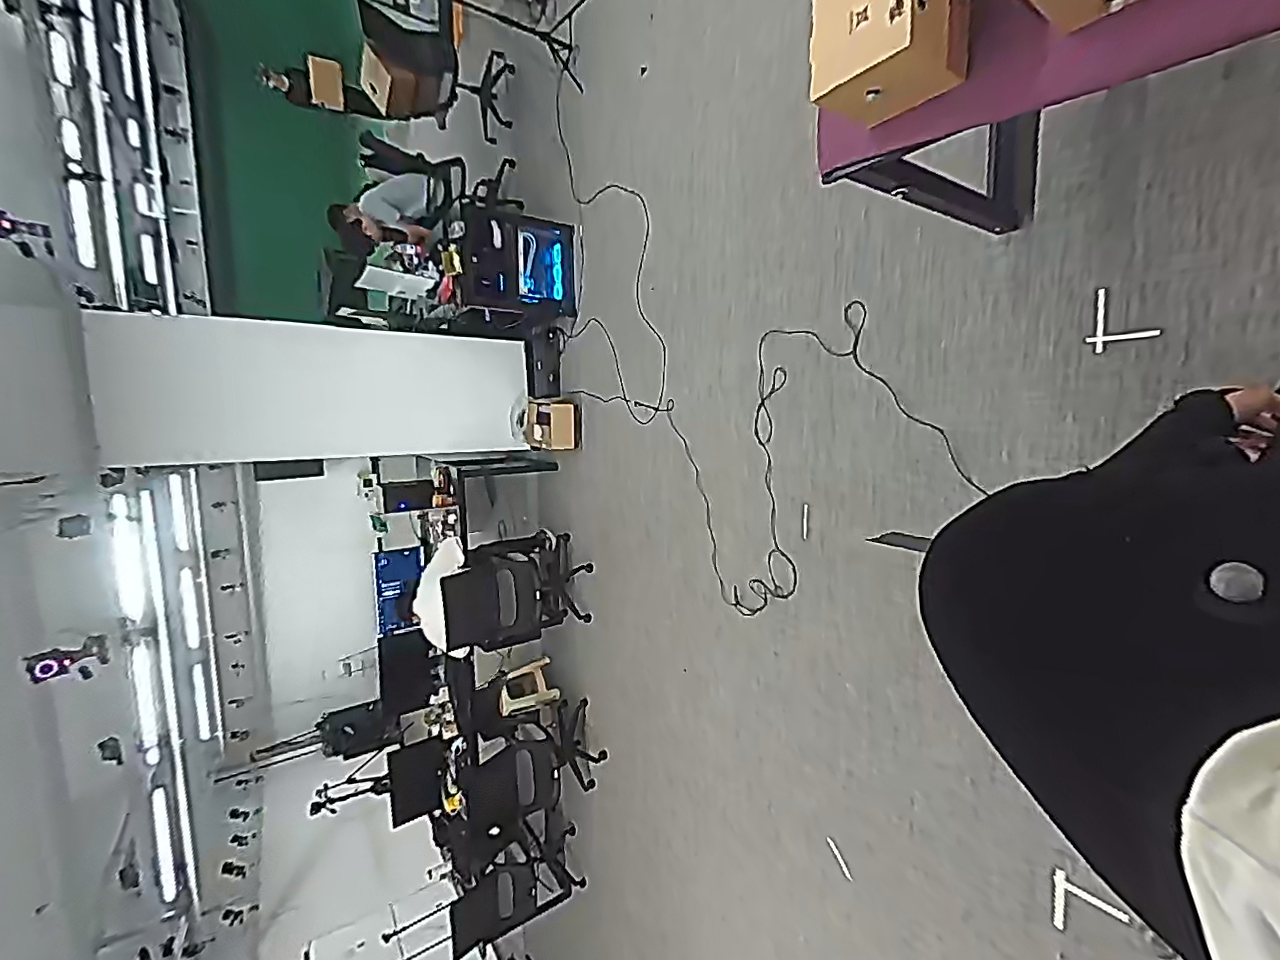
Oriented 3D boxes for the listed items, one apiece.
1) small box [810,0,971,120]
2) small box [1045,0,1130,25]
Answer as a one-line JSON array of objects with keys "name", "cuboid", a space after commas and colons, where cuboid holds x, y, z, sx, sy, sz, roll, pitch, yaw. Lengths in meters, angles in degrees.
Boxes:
[{"name": "small box", "cuboid": [0.401, -0.721, 0.873, 0.179, 0.176, 0.168, 11, 104, 56]}, {"name": "small box", "cuboid": [0.568, -0.694, 0.630, 0.168, 0.176, 0.179, 9, 104, 56]}]
